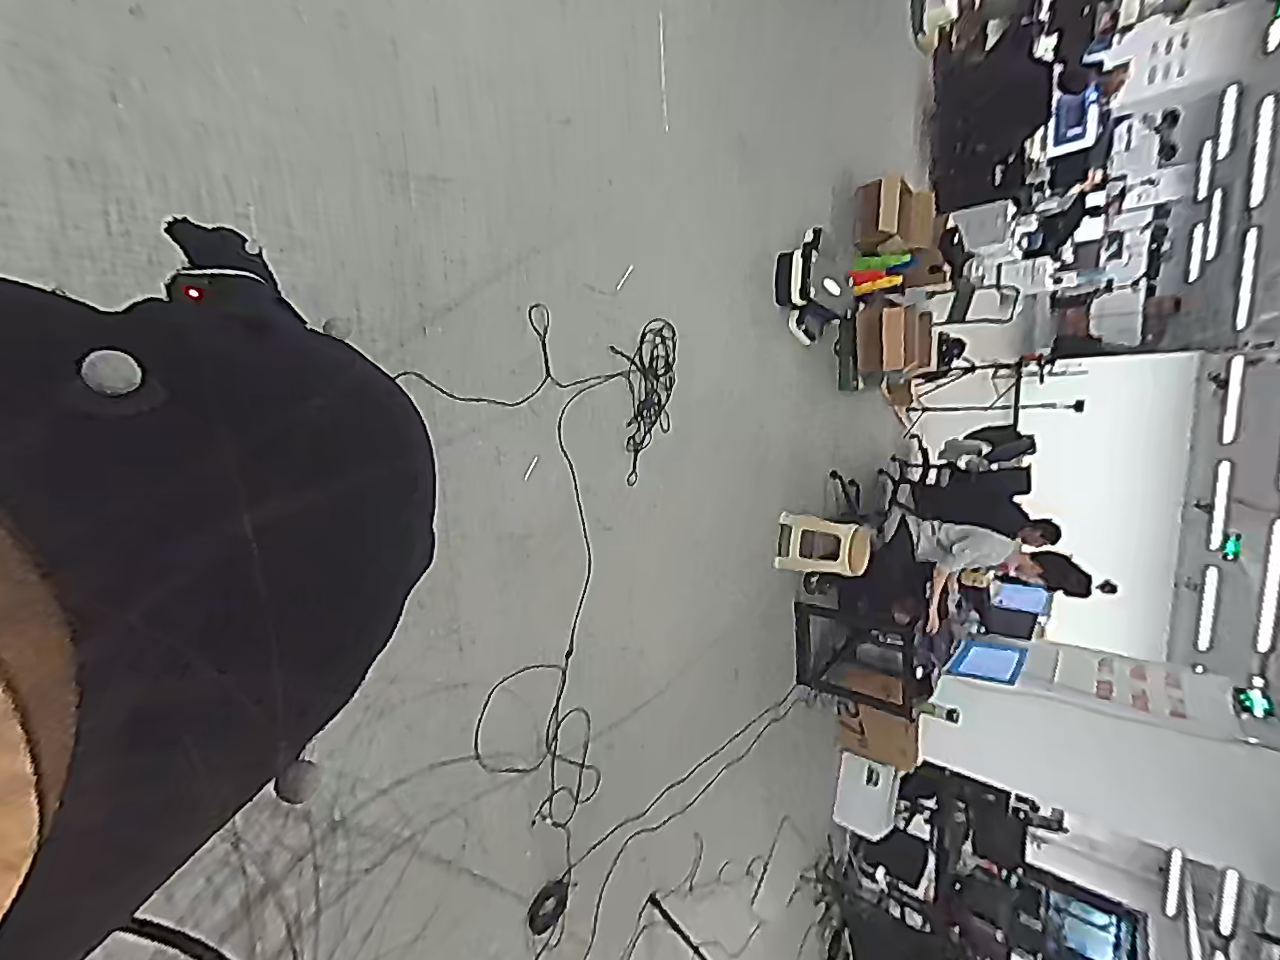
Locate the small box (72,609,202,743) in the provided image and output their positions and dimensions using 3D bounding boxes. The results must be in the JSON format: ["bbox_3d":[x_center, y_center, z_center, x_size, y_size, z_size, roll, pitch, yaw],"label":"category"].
[{"bbox_3d":[-1.002,0.378,1.078,0.168,0.176,0.179,-10,101,-48],"label":"small box"}]
